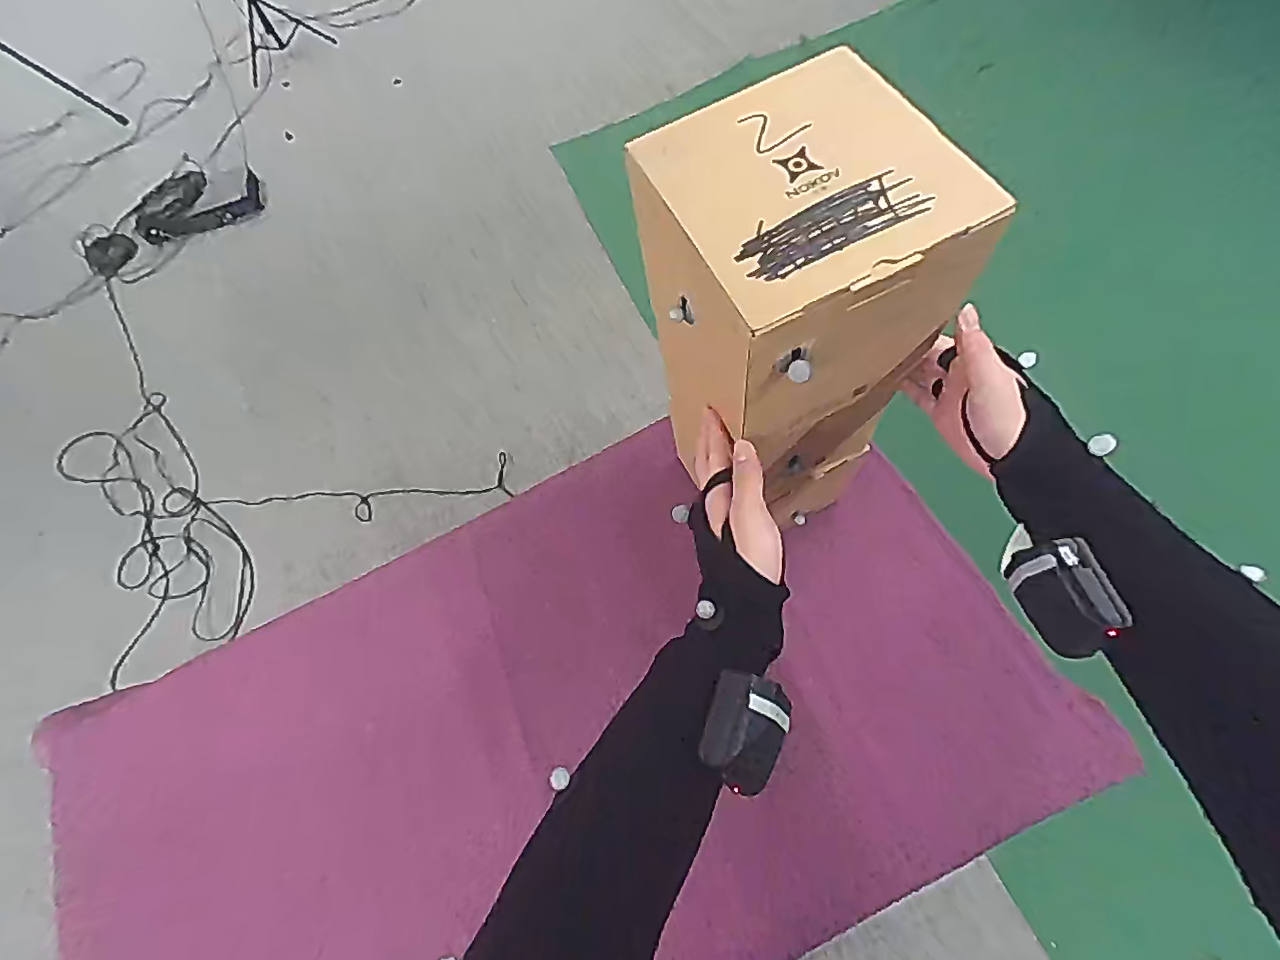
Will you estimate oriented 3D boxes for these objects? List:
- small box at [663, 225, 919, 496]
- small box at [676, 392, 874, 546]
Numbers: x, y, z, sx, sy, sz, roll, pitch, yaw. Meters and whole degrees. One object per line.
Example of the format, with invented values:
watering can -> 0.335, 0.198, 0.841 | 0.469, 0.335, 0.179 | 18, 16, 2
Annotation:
small box -> 0.134, -0.110, 0.549 | 0.168, 0.176, 0.179 | -24, 68, -2
small box -> 0.160, -0.040, 0.694 | 0.168, 0.176, 0.179 | -28, 68, -2
